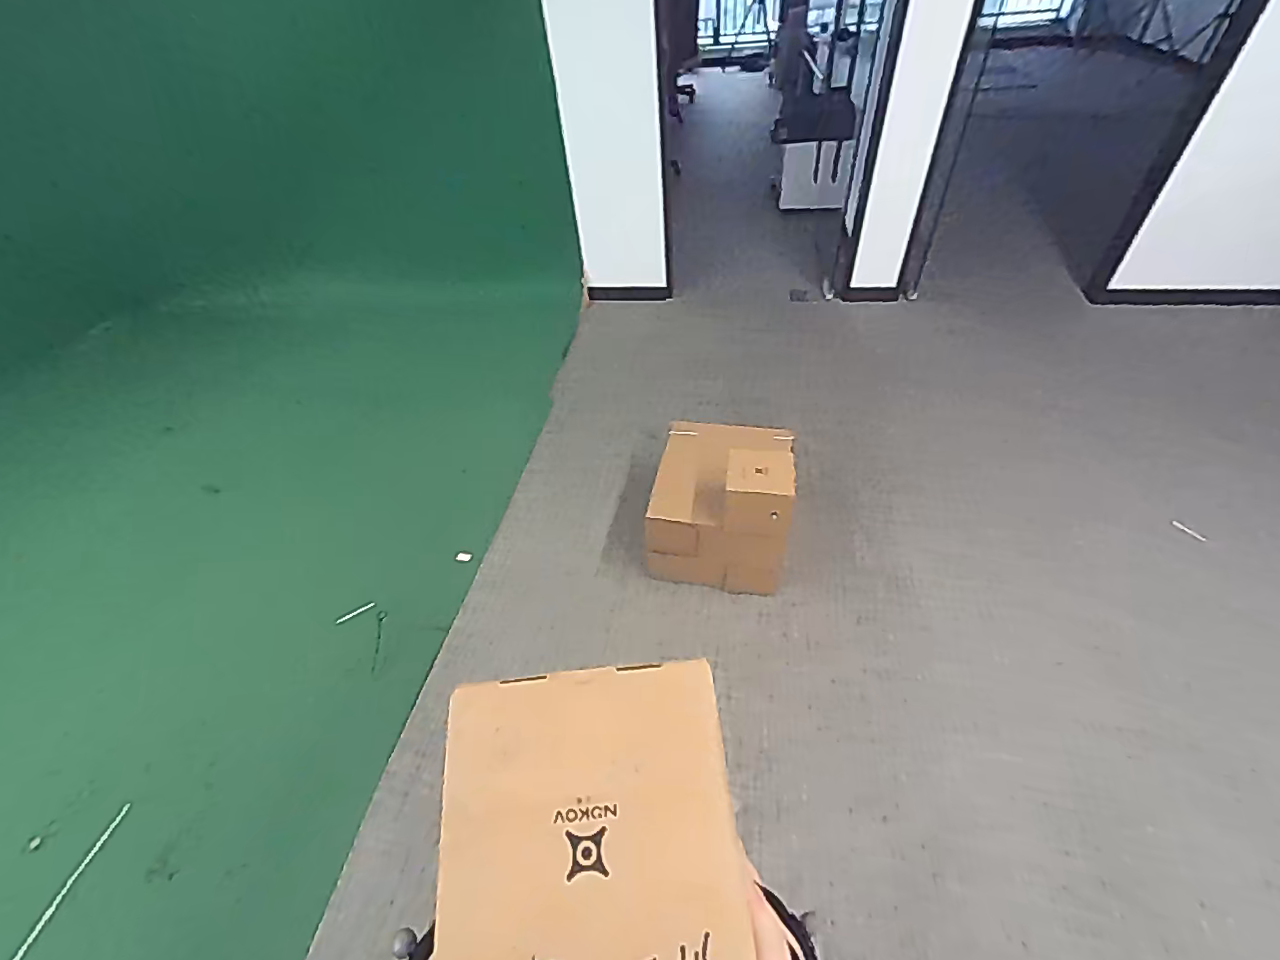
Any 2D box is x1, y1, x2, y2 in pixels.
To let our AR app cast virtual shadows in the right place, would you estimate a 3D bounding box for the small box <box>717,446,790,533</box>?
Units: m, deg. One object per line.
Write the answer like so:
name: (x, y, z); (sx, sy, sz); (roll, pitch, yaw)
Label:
small box: (0.309, 0.027, 1.478); (0.179, 0.176, 0.168); (4, 45, 10)
